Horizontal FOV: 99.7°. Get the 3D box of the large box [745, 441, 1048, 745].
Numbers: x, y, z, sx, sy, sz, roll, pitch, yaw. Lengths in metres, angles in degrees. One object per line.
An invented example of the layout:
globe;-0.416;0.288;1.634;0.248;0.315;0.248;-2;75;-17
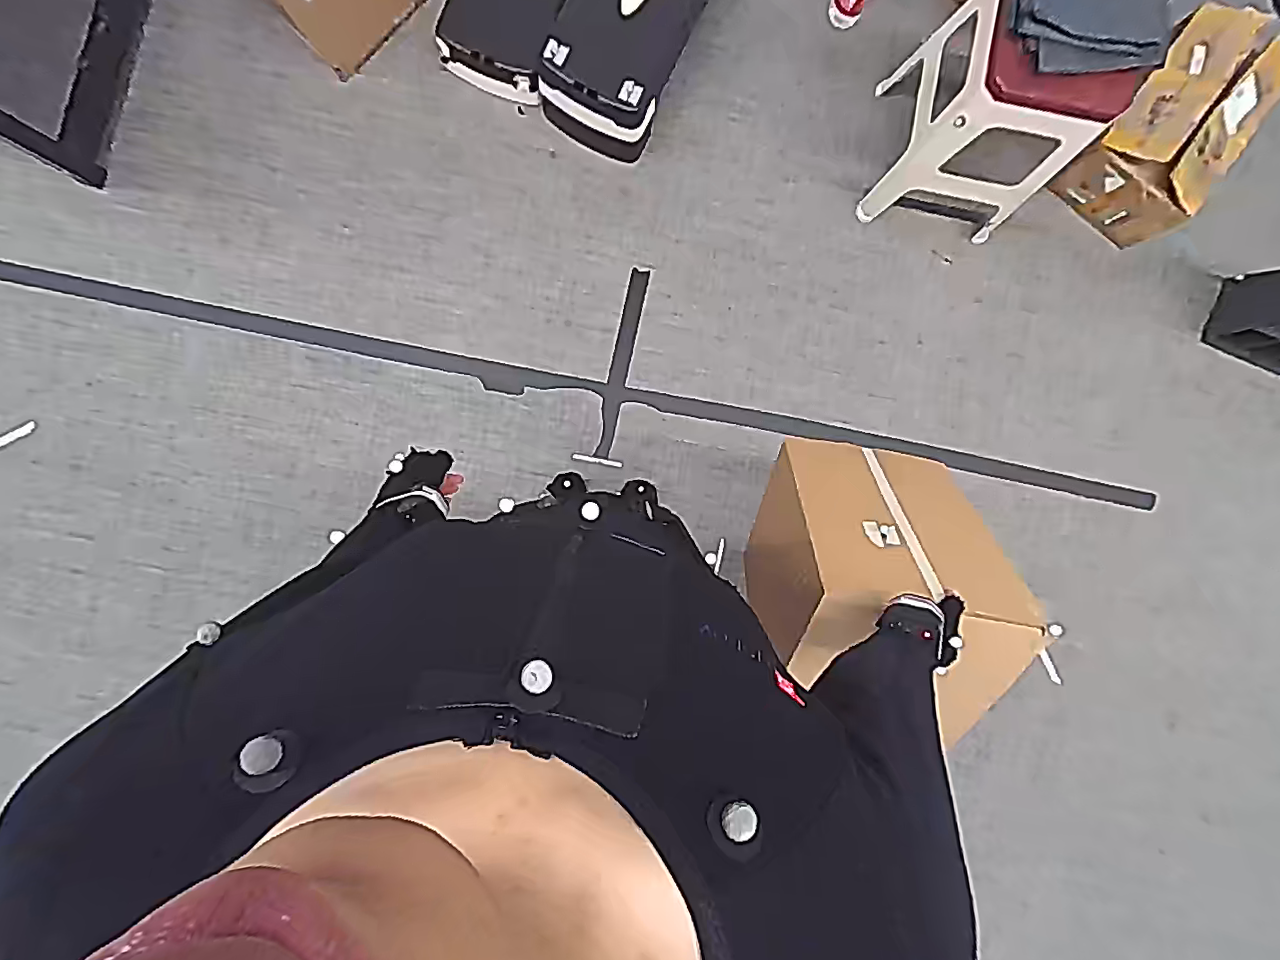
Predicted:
large box;0.391;0.185;0.967;0.320;0.408;0.320;9;126;-1
